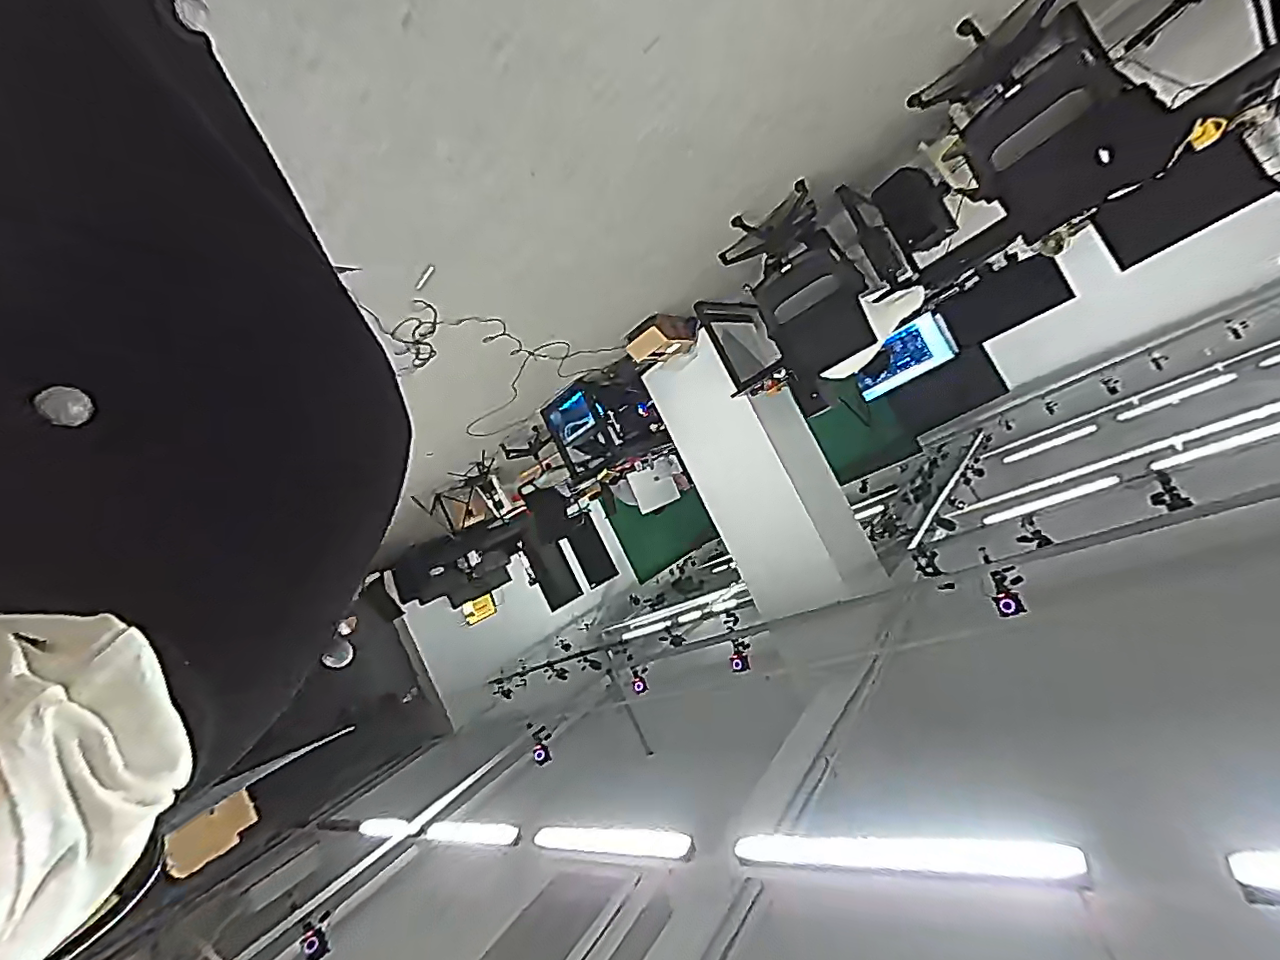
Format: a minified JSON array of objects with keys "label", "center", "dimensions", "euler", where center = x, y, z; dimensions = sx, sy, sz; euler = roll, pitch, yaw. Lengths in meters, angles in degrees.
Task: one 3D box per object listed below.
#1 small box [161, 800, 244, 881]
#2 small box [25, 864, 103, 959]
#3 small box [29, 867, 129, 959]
[{"label":"small box","center":[-1.502,1.228,1.853],"dimensions":[0.179,0.176,0.168],"euler":[-28,175,37]},{"label":"small box","center":[-1.852,1.395,1.759],"dimensions":[0.168,0.176,0.179],"euler":[-29,175,37]},{"label":"small box","center":[-1.674,1.295,1.613],"dimensions":[0.179,0.176,0.168],"euler":[-28,176,37]}]
